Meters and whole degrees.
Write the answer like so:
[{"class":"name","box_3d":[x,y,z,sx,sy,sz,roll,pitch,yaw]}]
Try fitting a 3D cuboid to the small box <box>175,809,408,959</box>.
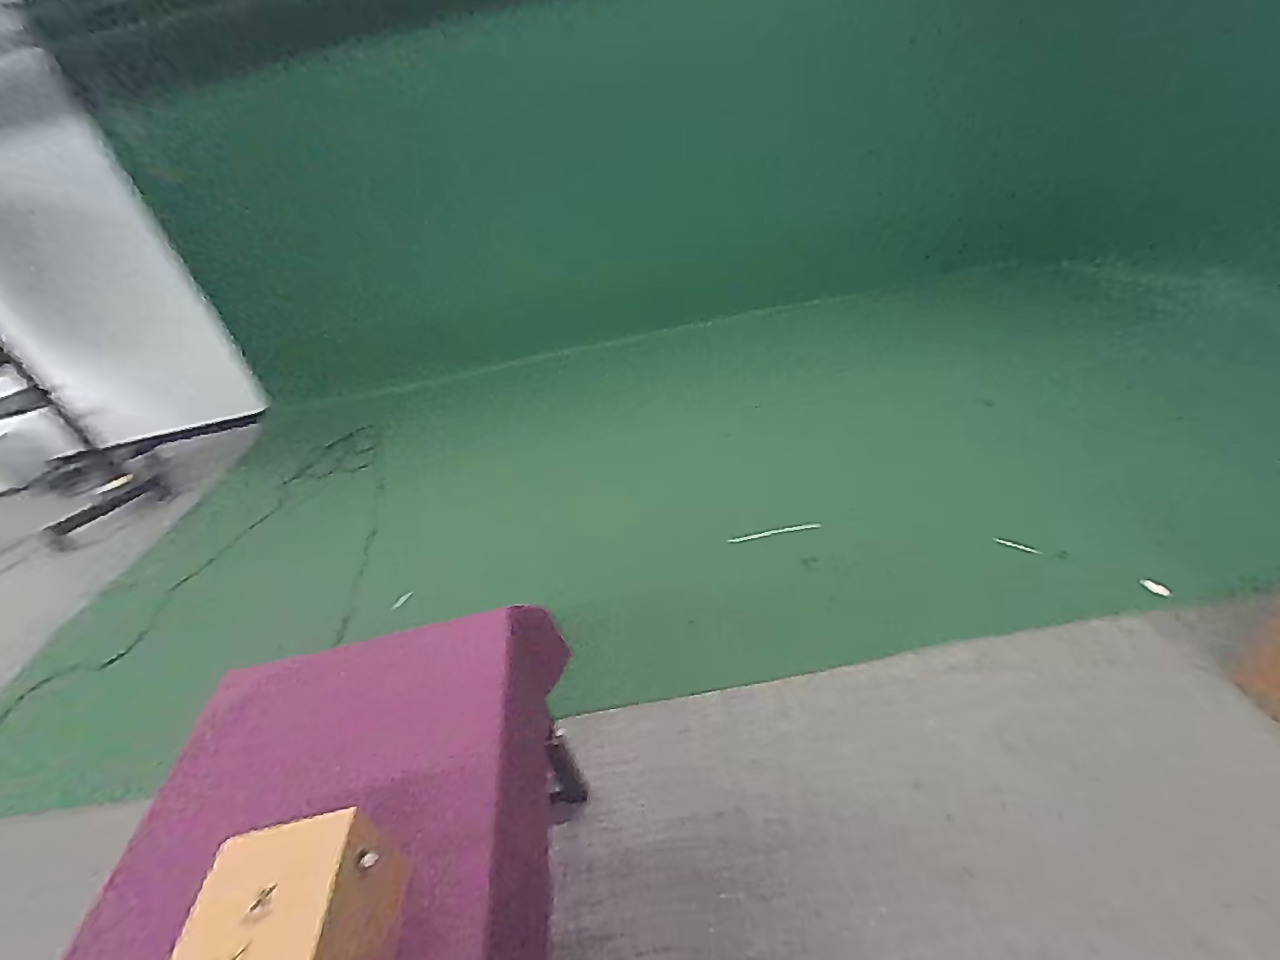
[{"class":"small box","box_3d":[-0.402,0.539,0.646,0.168,0.176,0.179,-14,35,0]}]
